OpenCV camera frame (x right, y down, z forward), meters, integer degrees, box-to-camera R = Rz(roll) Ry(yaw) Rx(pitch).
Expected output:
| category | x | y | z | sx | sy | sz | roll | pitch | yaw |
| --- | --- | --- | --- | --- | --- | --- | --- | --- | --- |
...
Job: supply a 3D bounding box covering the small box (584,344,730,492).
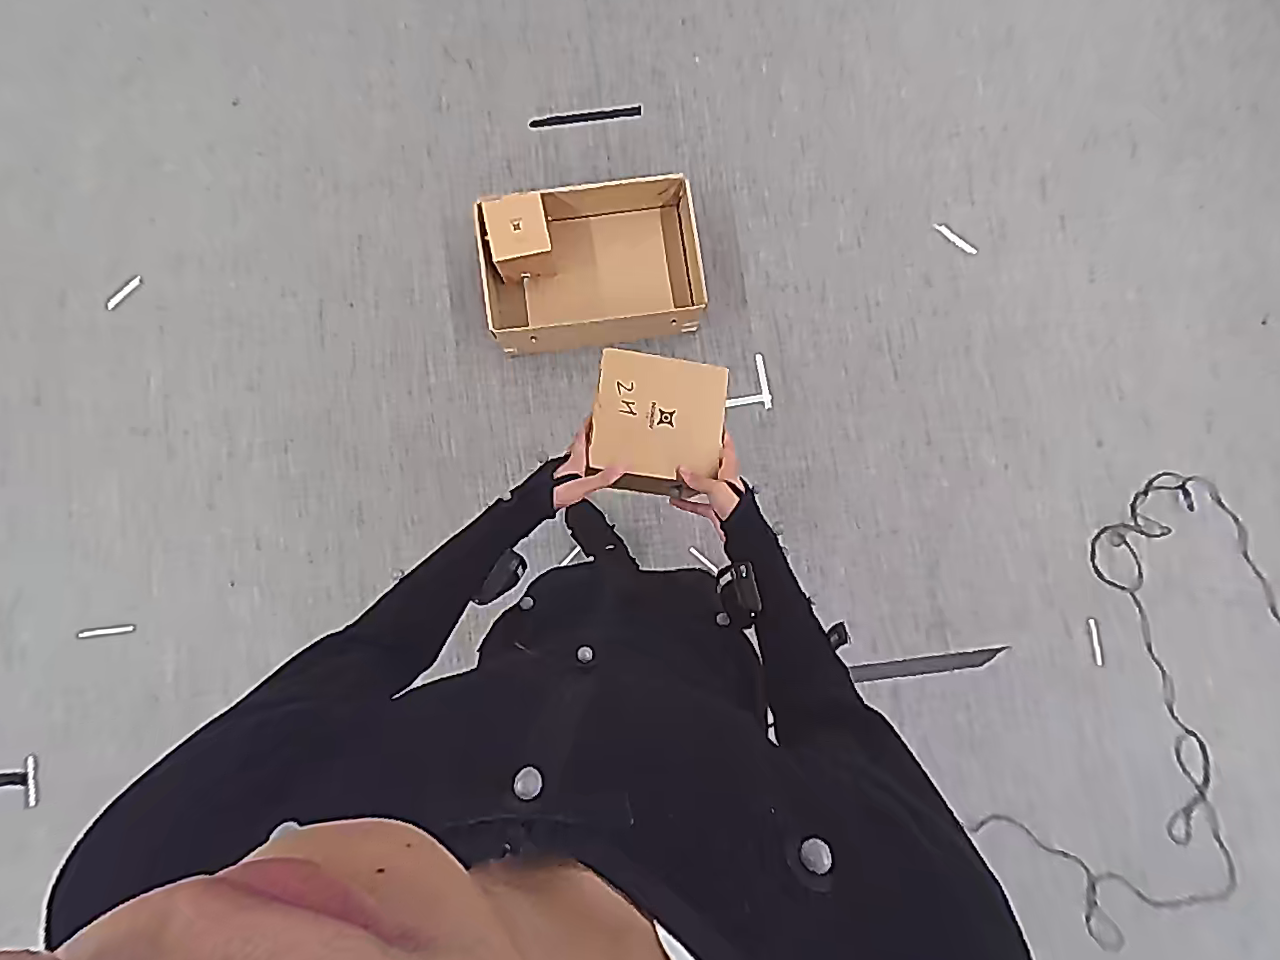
| category | x | y | z | sx | sy | sz | roll | pitch | yaw |
| --- | --- | --- | --- | --- | --- | --- | --- | --- | --- |
| small box | 0.016 | -0.078 | 0.783 | 0.179 | 0.176 | 0.168 | 8 | 82 | -5 |
